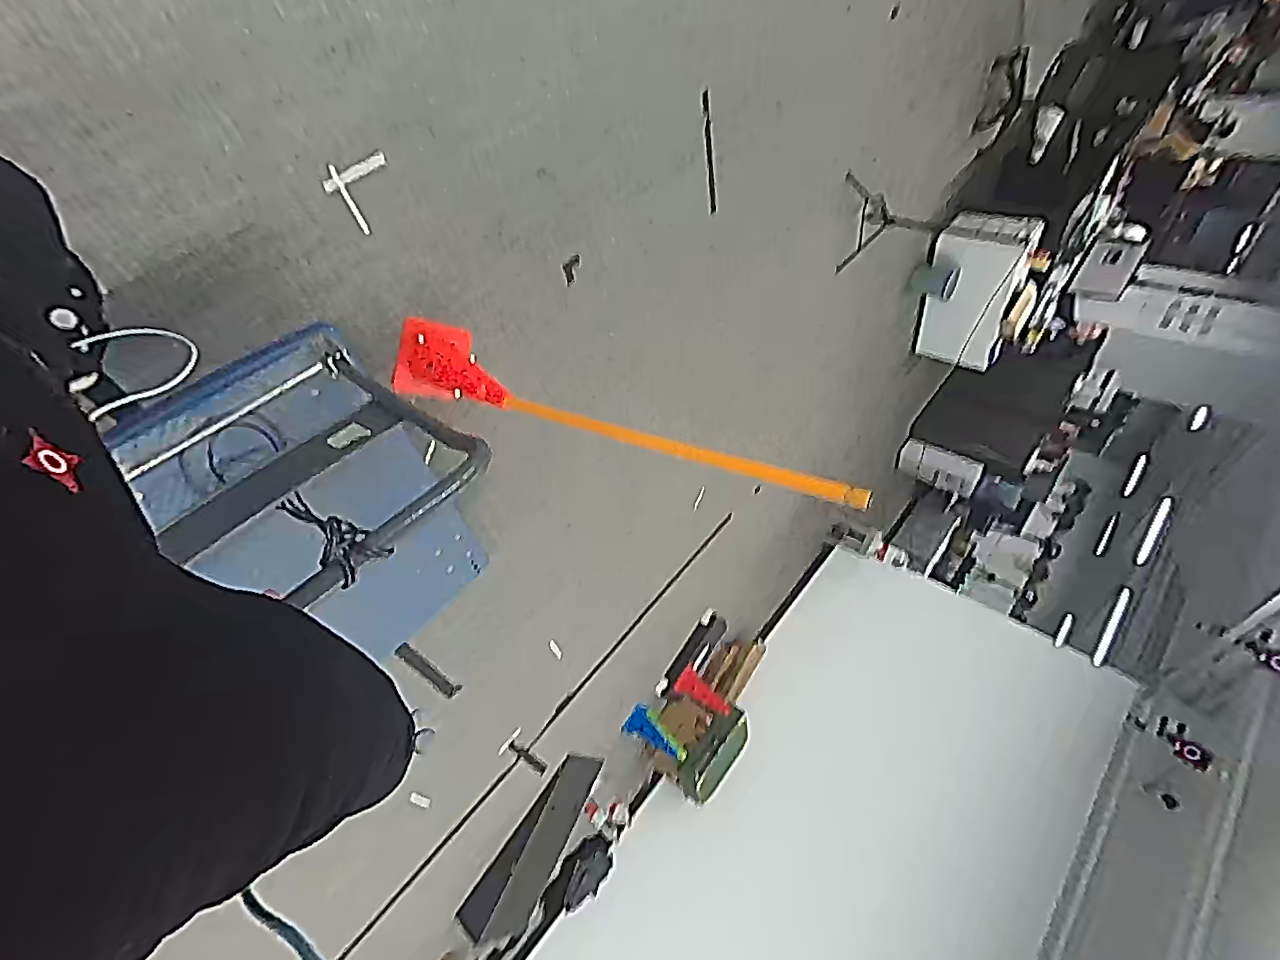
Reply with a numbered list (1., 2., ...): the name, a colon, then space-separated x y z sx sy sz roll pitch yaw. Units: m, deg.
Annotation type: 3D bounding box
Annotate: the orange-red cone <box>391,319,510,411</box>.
1. orange-red cone: -0.447 -0.251 1.380 0.198 0.360 0.199 3 113 -53
